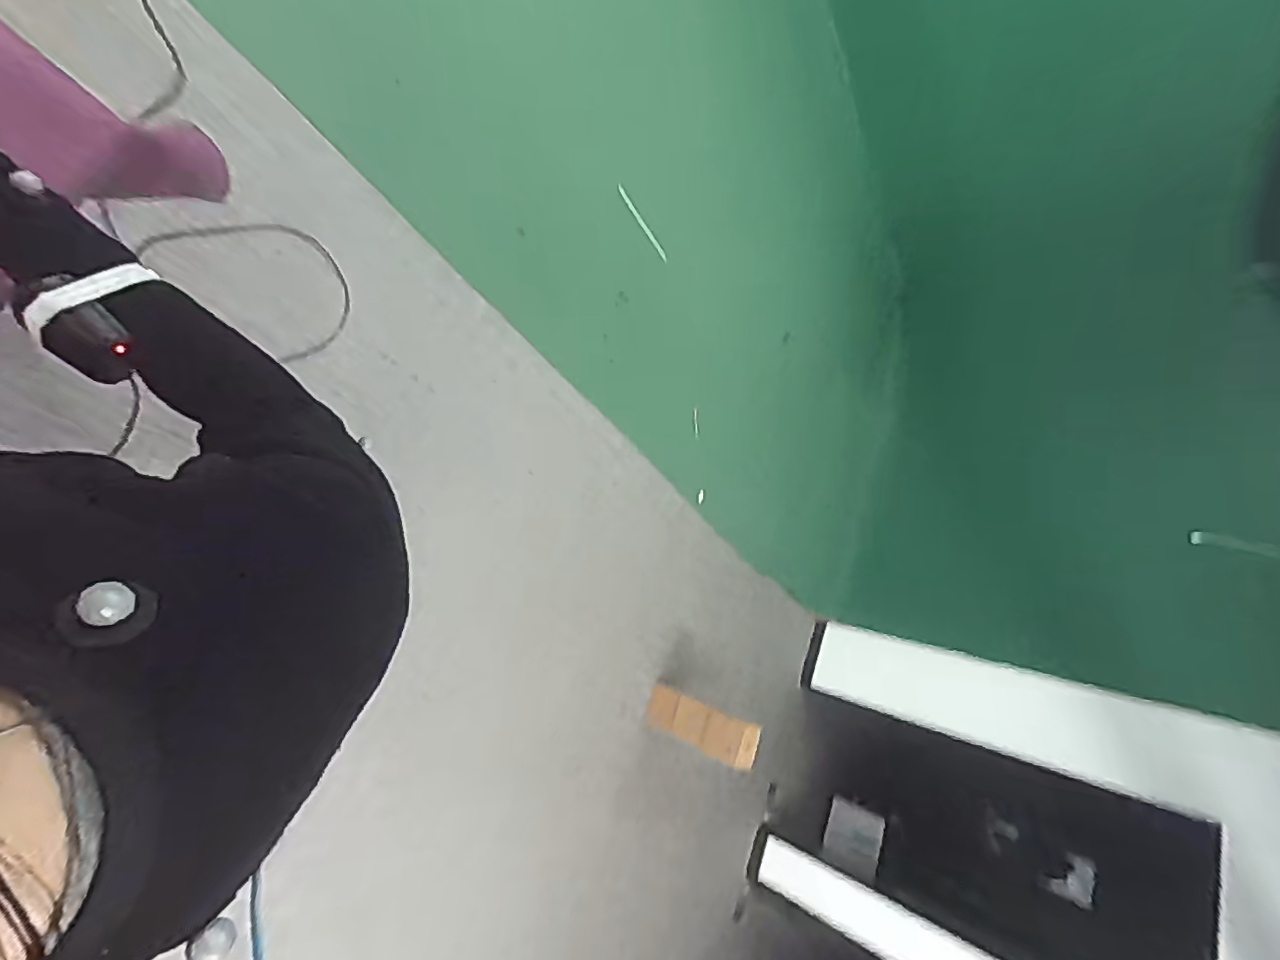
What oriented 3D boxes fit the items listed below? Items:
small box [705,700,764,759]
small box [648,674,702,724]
[{"bbox_3d":[0.398,1.061,2.300,0.168,0.176,0.179,37,66,-46],"label":"small box"},{"bbox_3d":[0.159,1.028,2.525,0.168,0.176,0.179,36,66,-45],"label":"small box"}]
